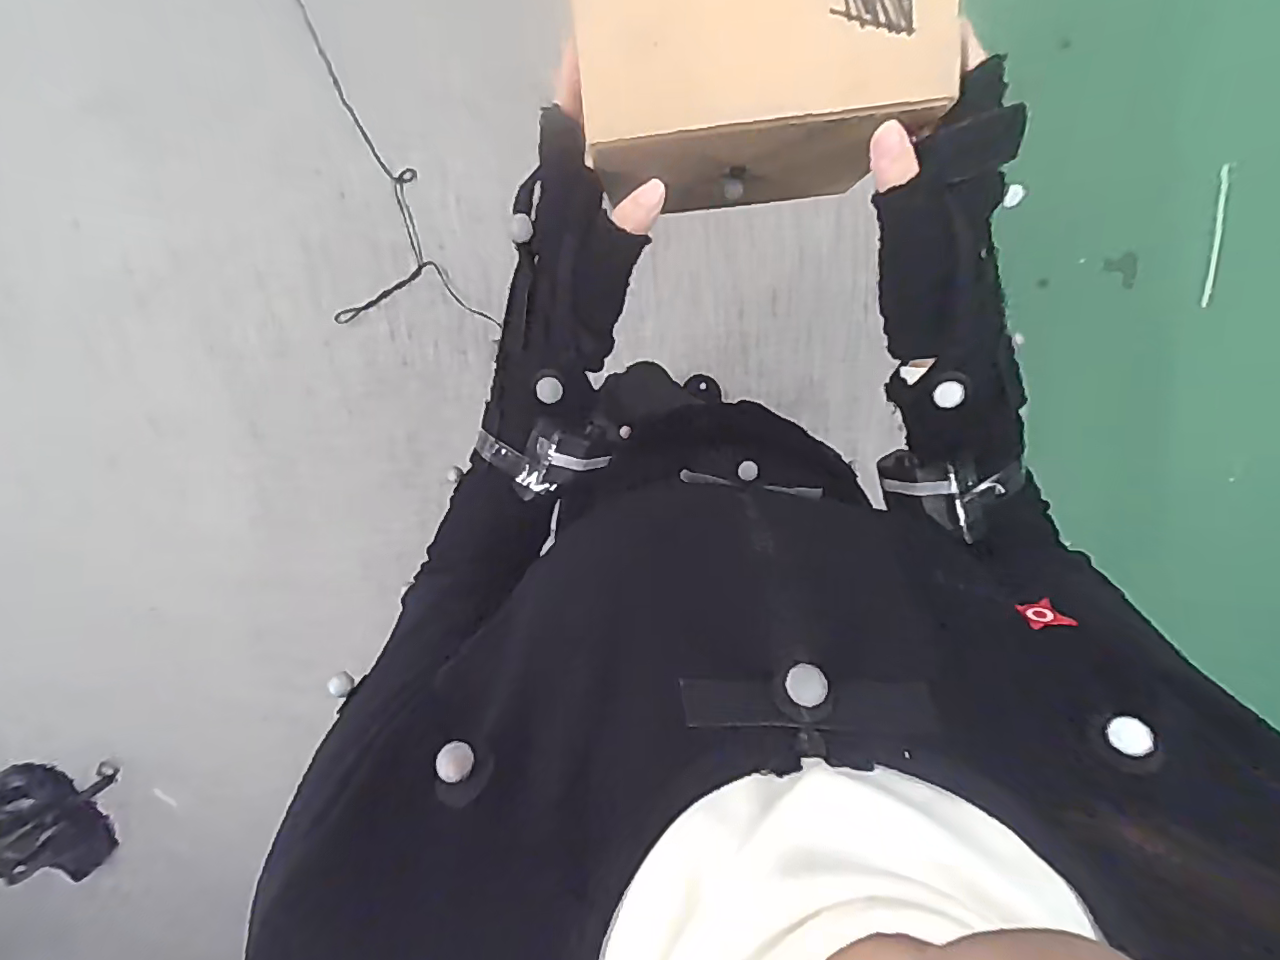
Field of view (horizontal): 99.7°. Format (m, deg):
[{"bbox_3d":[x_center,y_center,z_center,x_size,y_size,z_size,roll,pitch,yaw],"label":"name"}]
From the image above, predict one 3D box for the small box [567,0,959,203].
[{"bbox_3d":[0.055,-0.272,0.308,0.179,0.176,0.168,-5,105,6],"label":"small box"}]
